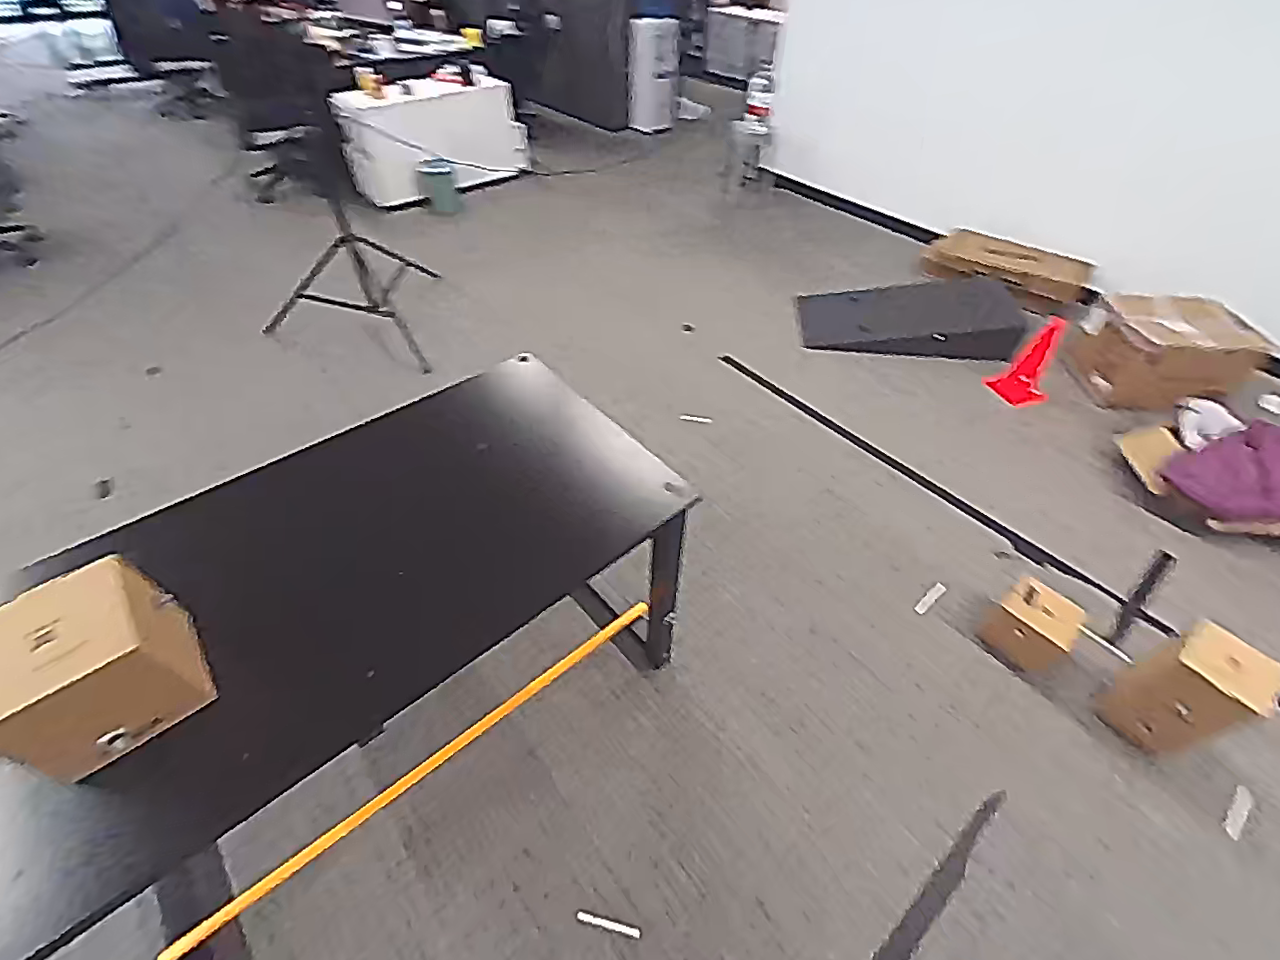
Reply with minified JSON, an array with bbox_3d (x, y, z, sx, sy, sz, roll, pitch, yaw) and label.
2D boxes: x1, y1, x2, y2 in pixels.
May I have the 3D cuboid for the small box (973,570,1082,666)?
[{"bbox_3d":[1.113,0.402,1.568,0.168,0.176,0.179,-34,57,-27],"label":"small box"}]

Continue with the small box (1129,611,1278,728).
[{"bbox_3d":[1.342,0.456,1.300,0.179,0.176,0.168,-31,55,-25],"label":"small box"}]

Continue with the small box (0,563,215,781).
[{"bbox_3d":[-0.703,0.248,0.698,0.168,0.176,0.179,-35,57,-27],"label":"small box"}]

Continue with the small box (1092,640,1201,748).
[{"bbox_3d":[1.348,0.567,1.424,0.179,0.176,0.168,-33,55,-26],"label":"small box"}]
